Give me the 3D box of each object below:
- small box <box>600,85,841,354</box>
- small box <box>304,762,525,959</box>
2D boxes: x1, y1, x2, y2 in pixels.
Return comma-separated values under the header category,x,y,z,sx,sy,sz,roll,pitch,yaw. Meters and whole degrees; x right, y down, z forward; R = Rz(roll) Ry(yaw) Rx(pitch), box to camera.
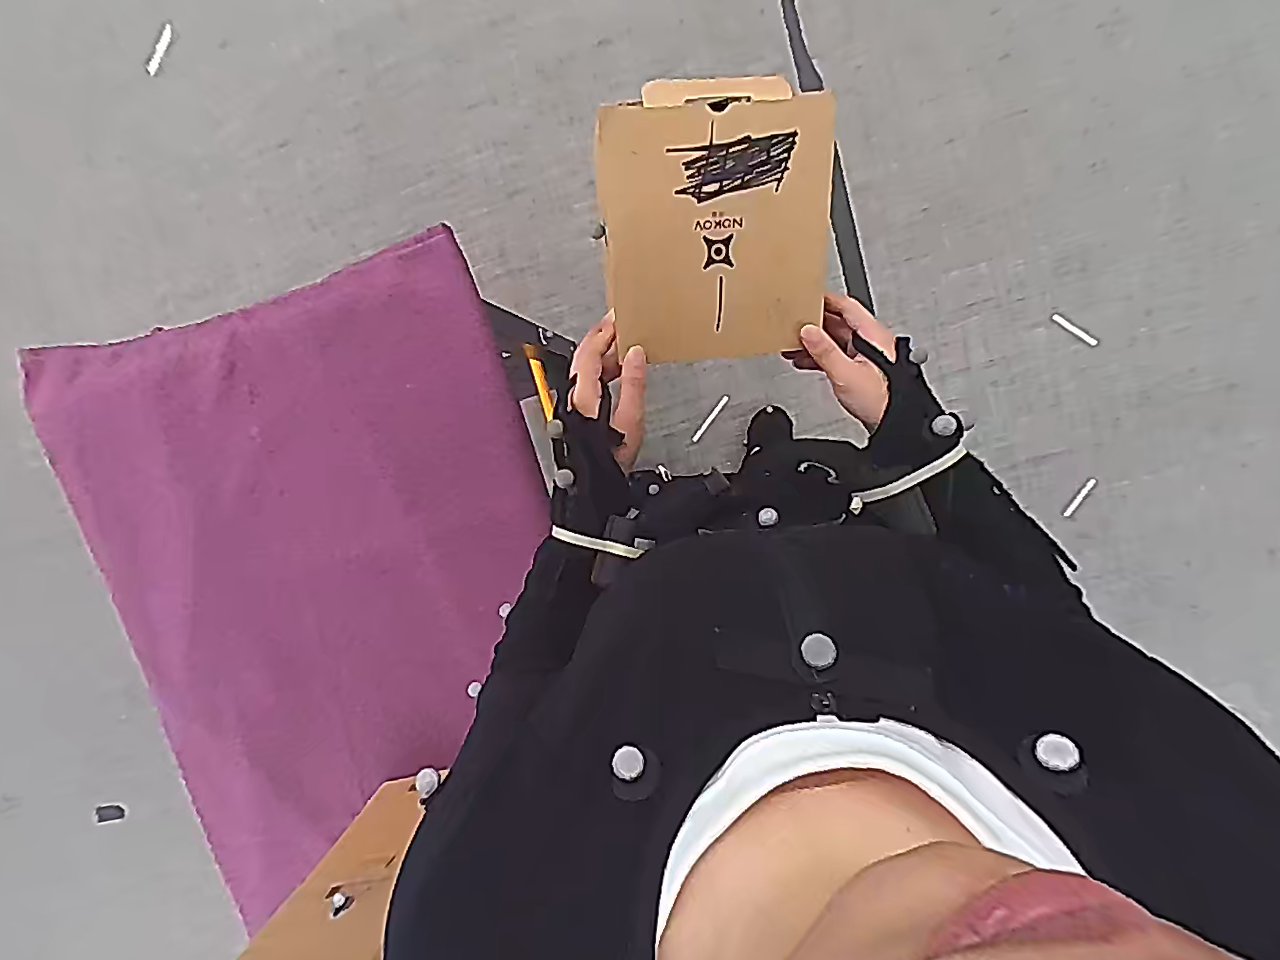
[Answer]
category,x,y,z,sx,sy,sz,roll,pitch,yaw
small box,0.054,-0.214,0.471,0.168,0.176,0.179,-5,113,-4
small box,-0.260,0.490,0.669,0.168,0.176,0.179,-16,96,7
